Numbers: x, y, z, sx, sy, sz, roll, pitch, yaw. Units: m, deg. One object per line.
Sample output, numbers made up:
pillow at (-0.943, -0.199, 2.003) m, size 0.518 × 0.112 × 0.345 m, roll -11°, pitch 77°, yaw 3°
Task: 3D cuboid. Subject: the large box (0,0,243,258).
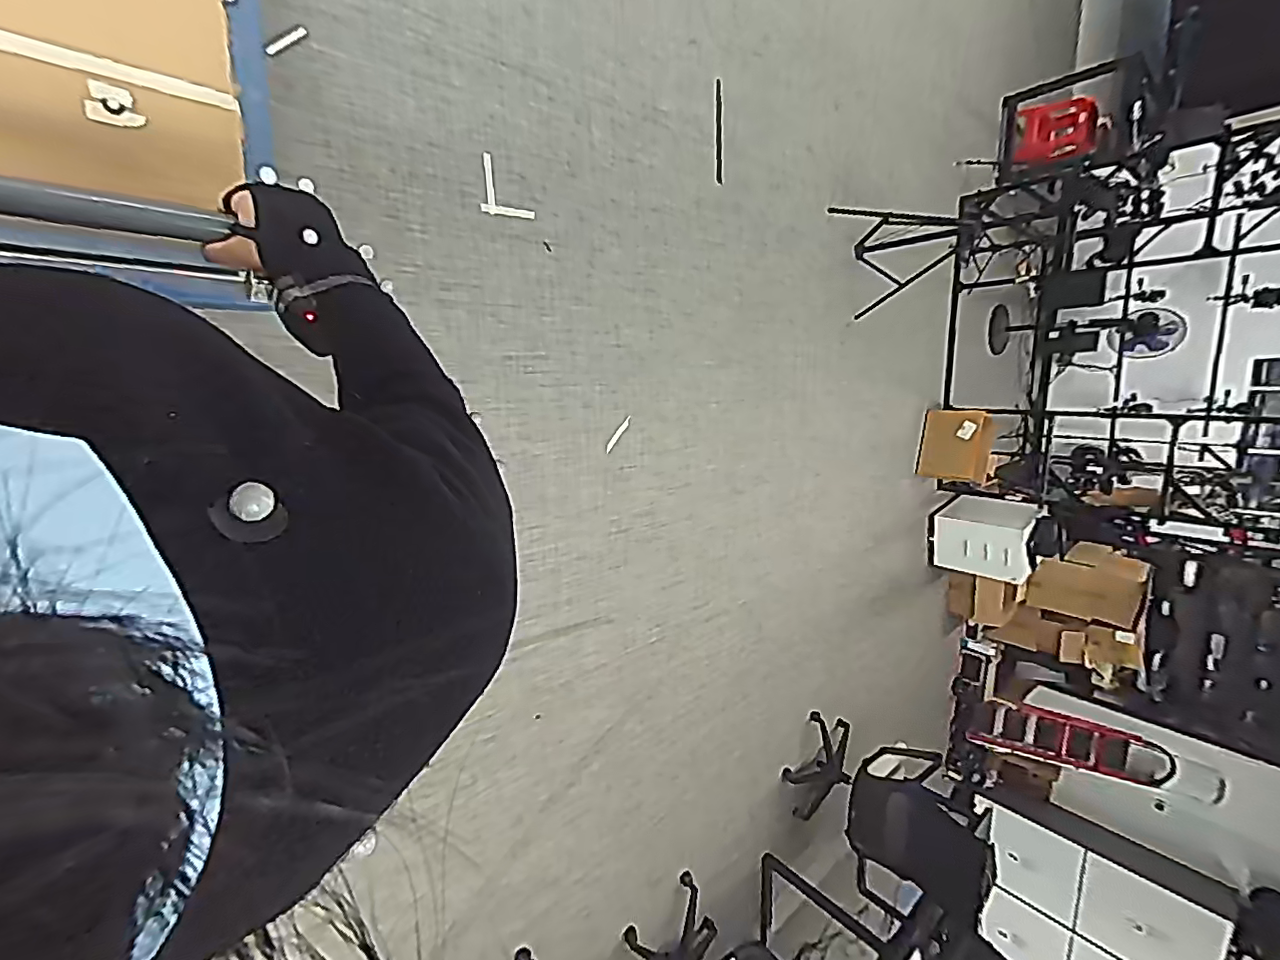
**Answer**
large box at (-0.849, -0.531, 0.771) m, size 0.408 × 0.320 × 0.320 m, roll -8°, pitch 103°, yaw -41°
